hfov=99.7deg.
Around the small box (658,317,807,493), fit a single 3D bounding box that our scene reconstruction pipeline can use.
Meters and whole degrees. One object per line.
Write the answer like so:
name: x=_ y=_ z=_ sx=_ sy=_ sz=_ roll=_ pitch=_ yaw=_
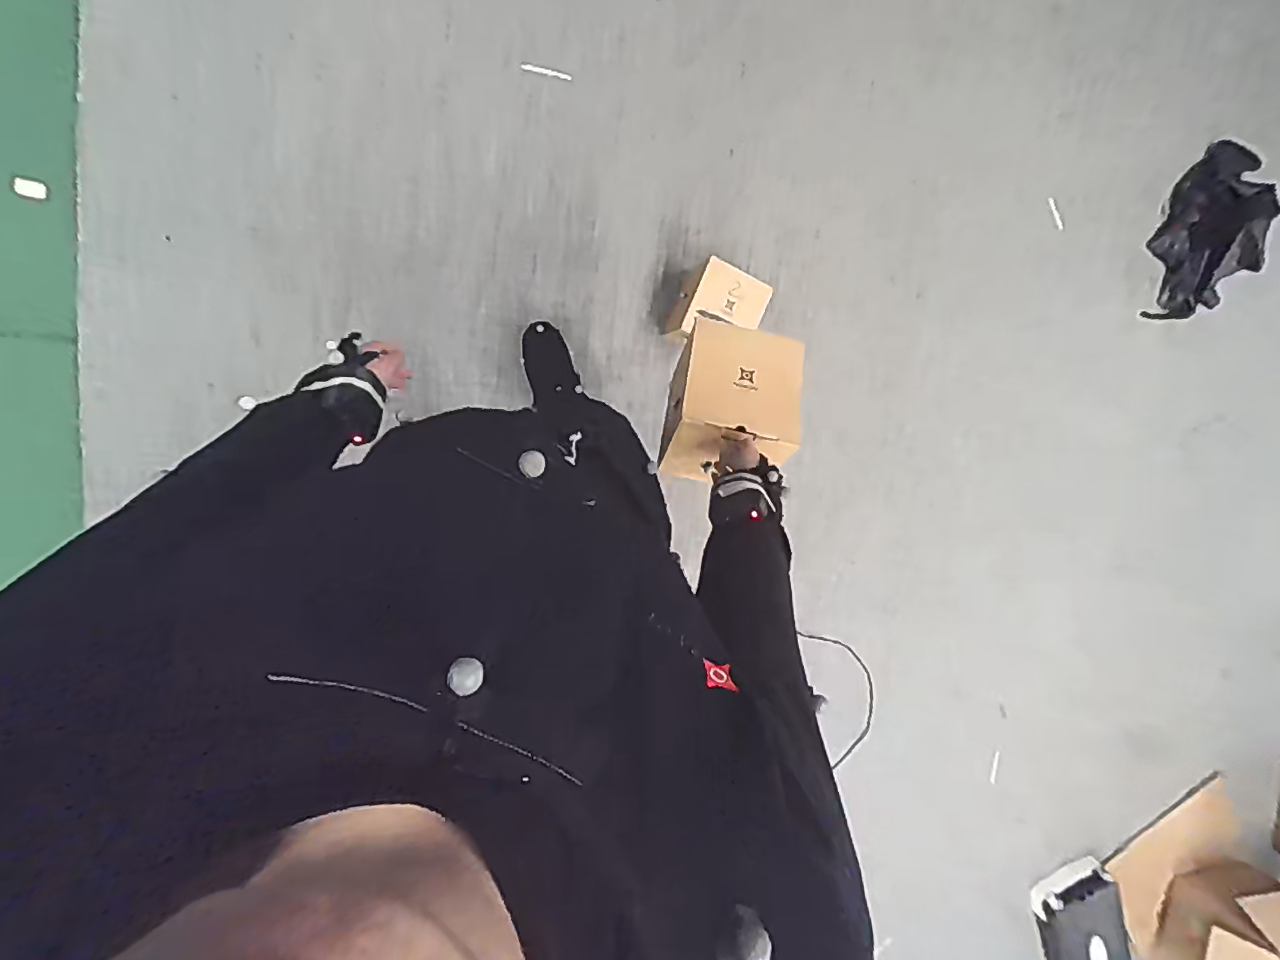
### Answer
small box: x=0.130 y=-0.102 z=0.800 sx=0.168 sy=0.176 sz=0.179 roll=13 pitch=66 yaw=-5
